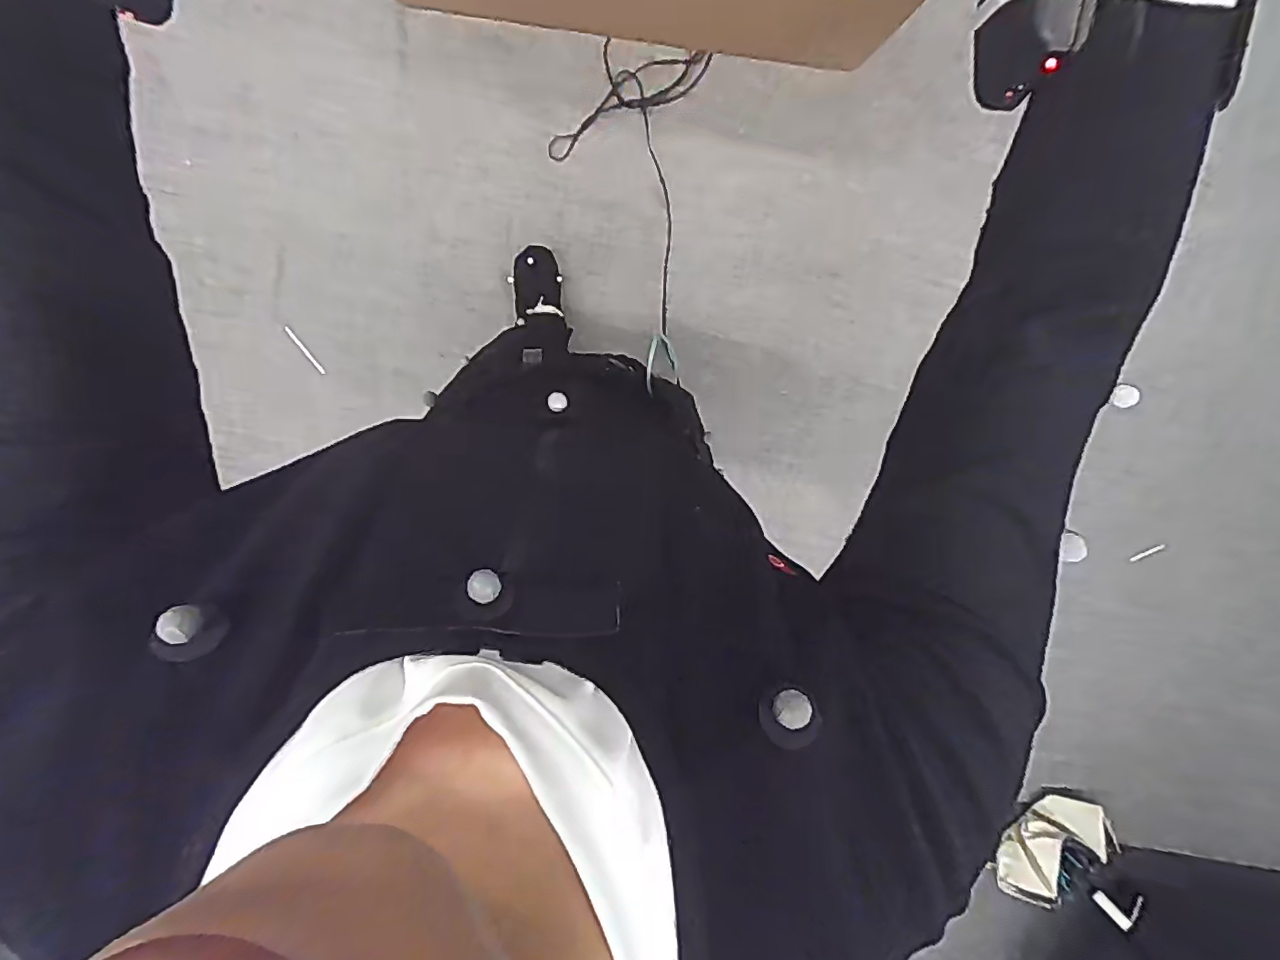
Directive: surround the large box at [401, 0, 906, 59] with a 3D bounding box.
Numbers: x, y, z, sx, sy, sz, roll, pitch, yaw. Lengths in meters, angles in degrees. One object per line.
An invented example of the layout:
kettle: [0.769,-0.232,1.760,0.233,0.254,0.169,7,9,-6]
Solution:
large box: [0.010,-0.482,0.282,0.408,0.320,0.320,5,109,-3]
